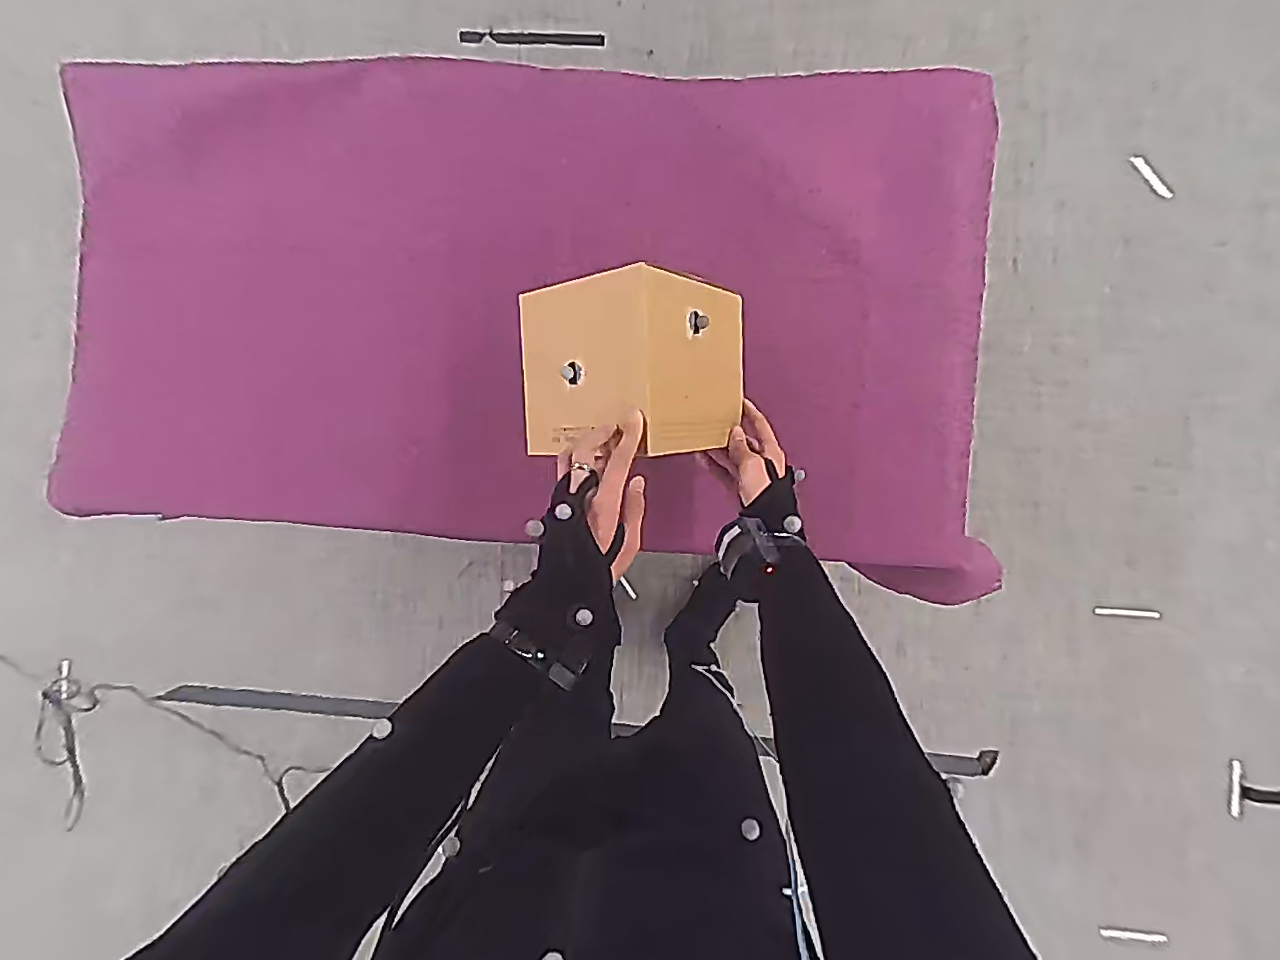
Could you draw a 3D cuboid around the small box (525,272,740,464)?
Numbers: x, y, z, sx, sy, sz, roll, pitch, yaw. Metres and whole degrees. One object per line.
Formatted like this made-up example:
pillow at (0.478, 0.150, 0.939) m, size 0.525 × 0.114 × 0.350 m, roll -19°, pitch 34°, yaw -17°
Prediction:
small box at (0.000, -0.107, 0.582) m, size 0.168 × 0.179 × 0.176 m, roll 4°, pitch 98°, yaw 38°
